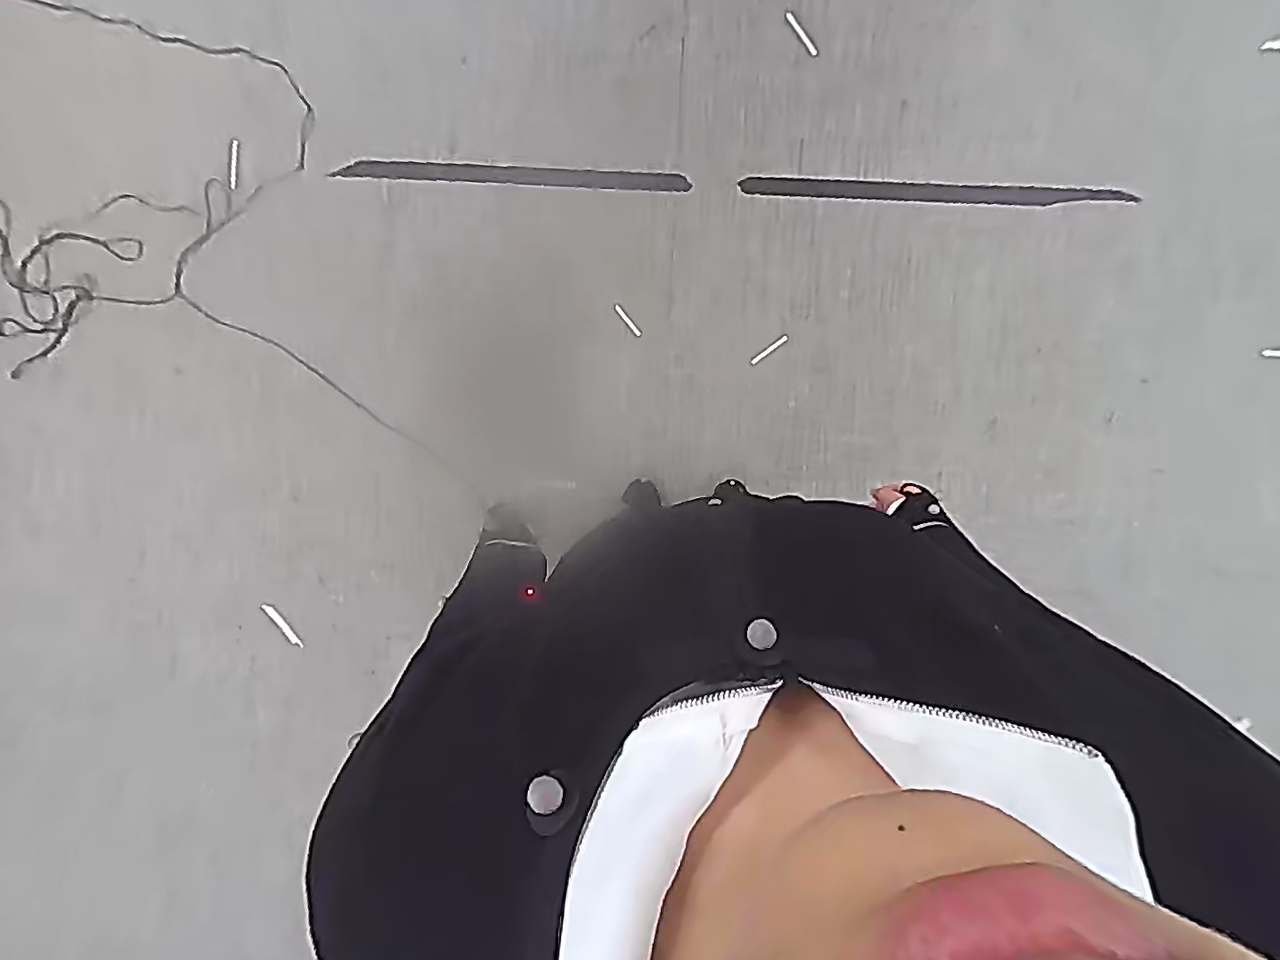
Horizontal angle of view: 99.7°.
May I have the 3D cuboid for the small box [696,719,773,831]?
[{"bbox_3d":[0.226,0.712,1.318,0.168,0.176,0.179,2,90,3],"label":"small box"}]
